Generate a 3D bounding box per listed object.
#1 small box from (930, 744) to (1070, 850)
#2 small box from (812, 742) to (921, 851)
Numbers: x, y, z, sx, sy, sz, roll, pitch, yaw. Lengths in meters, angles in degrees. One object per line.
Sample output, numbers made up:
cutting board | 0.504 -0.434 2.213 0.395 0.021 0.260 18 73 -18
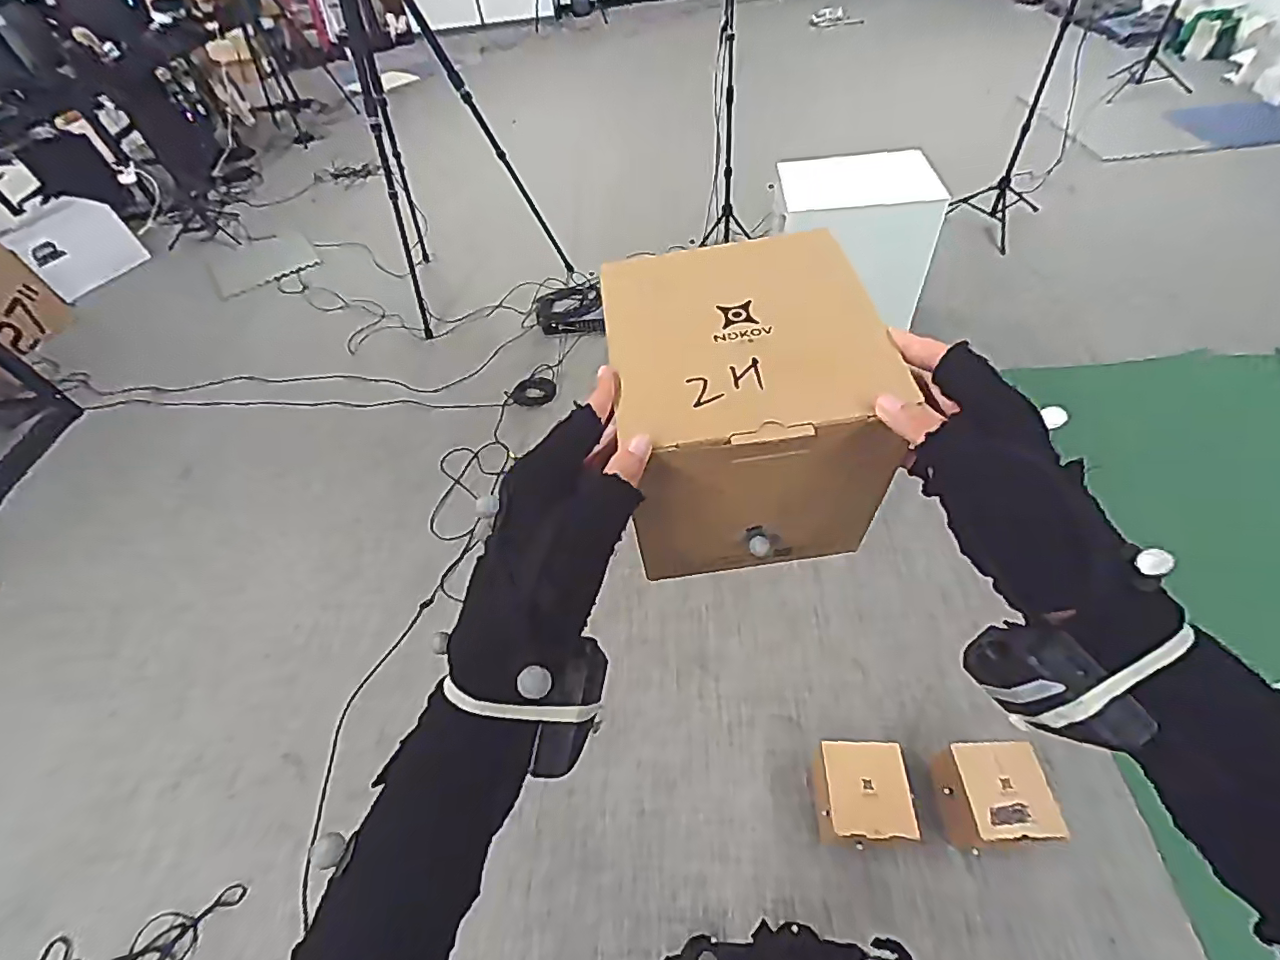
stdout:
small box | 0.745 0.673 1.144 0.168 0.176 0.179 -4 50 4
small box | 0.478 0.685 1.170 0.168 0.176 0.179 -1 51 6
